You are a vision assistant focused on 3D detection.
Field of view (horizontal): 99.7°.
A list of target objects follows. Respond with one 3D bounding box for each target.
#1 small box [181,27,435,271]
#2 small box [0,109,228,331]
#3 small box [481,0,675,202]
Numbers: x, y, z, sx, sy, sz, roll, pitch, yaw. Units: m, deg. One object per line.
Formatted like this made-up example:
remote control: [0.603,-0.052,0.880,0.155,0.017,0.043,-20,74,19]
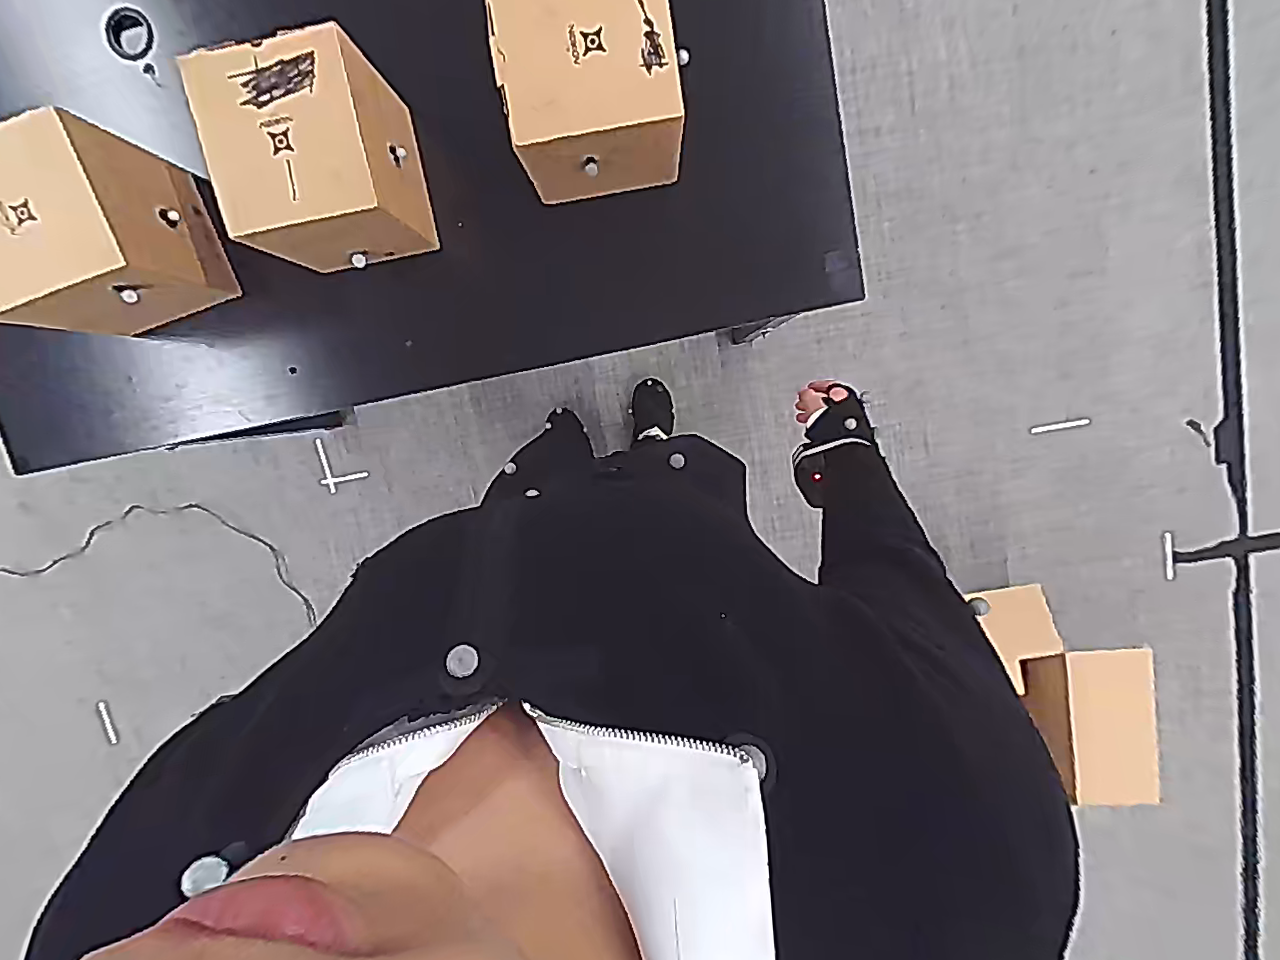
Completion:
small box: [-0.362,-0.362,0.627,0.168,0.176,0.179,-10,99,3]
small box: [-0.642,-0.288,0.642,0.179,0.176,0.168,-18,98,4]
small box: [-0.057,-0.437,0.610,0.179,0.176,0.168,-9,99,3]
